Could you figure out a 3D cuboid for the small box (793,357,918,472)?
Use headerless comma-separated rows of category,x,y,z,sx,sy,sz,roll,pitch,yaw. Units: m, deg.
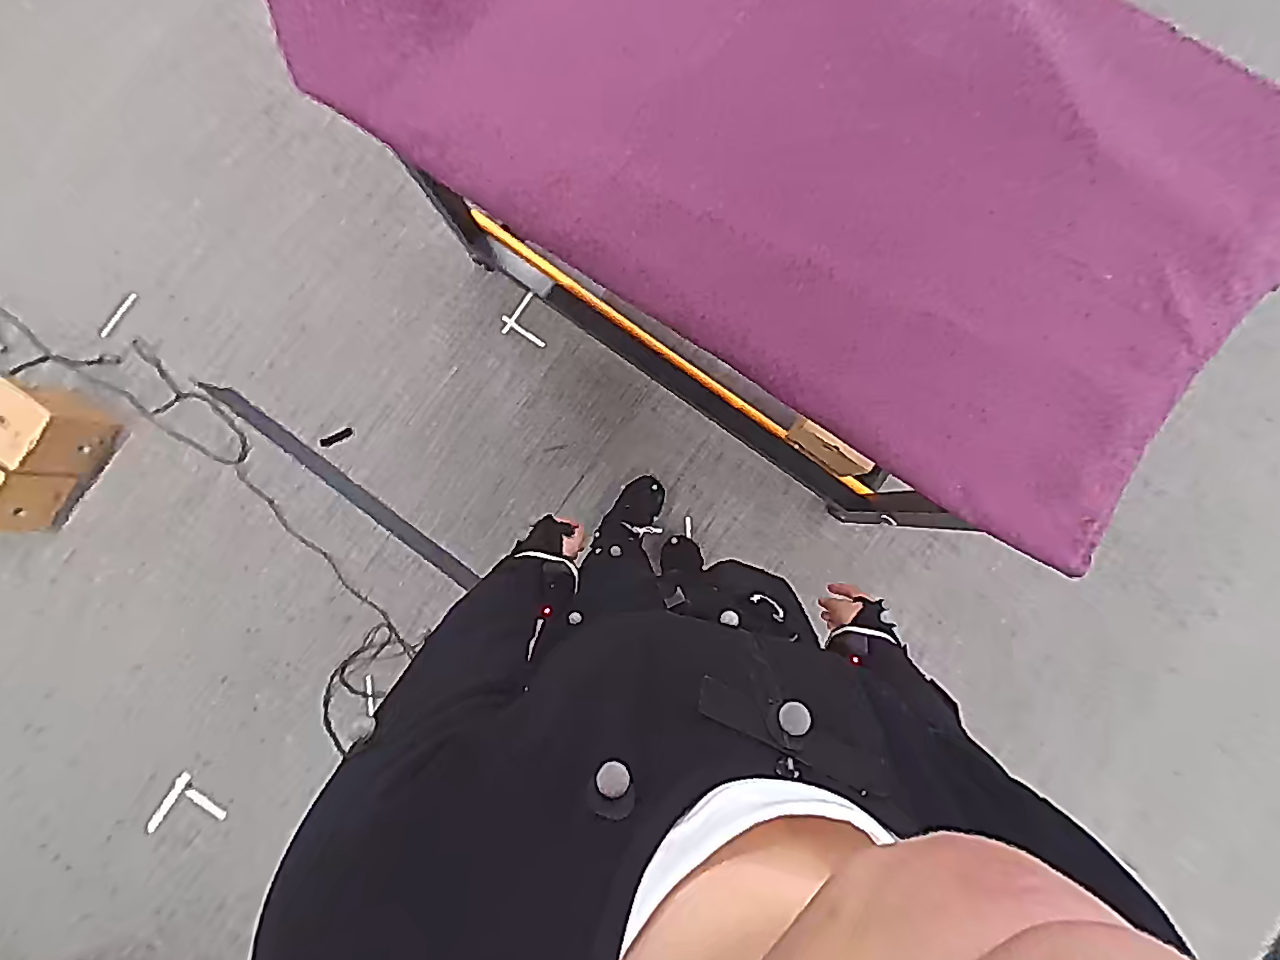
small box,0.454,-0.132,1.175,0.168,0.176,0.179,36,88,3
